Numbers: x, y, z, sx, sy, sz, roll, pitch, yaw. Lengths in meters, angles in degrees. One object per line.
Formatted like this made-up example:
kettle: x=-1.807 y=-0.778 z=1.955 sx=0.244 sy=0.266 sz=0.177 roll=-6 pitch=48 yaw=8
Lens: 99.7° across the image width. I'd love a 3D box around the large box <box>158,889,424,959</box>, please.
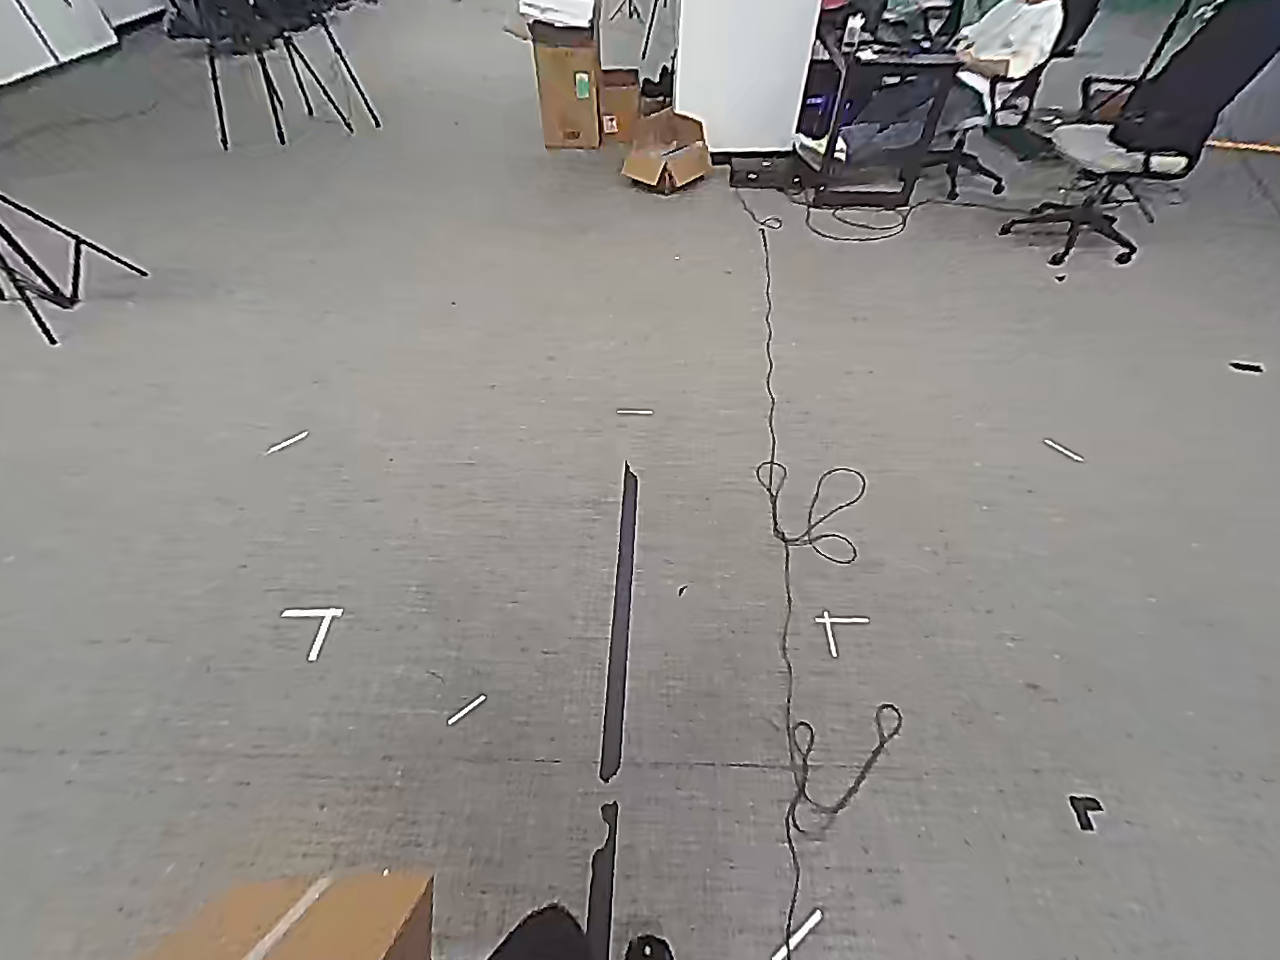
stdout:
large box: x=-0.470 y=0.757 z=0.622 sx=0.320 sy=0.408 sz=0.320 roll=-2 pitch=78 yaw=-4
